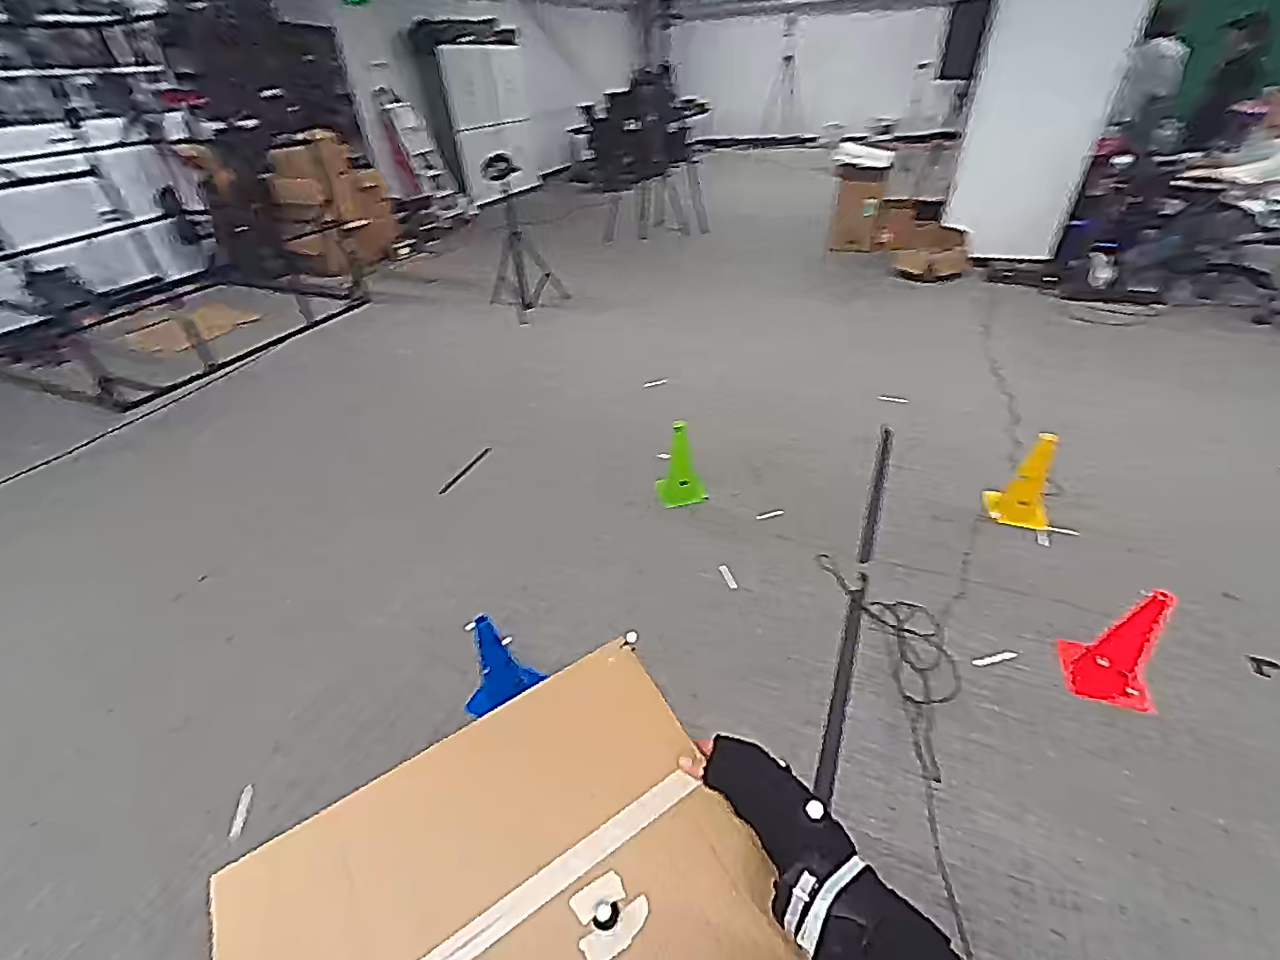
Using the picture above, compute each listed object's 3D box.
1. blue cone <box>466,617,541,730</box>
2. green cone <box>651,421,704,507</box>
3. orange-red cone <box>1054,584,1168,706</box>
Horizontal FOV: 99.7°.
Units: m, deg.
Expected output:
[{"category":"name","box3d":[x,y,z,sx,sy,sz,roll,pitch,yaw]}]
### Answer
[{"category":"blue cone","box3d":[-0.431,0.536,1.574,0.192,0.380,0.193,13,40,24]},{"category":"green cone","box3d":[0.150,-0.093,2.313,0.202,0.368,0.200,-13,37,-8]},{"category":"orange-red cone","box3d":[1.353,0.425,1.507,0.198,0.360,0.199,11,38,18]}]
